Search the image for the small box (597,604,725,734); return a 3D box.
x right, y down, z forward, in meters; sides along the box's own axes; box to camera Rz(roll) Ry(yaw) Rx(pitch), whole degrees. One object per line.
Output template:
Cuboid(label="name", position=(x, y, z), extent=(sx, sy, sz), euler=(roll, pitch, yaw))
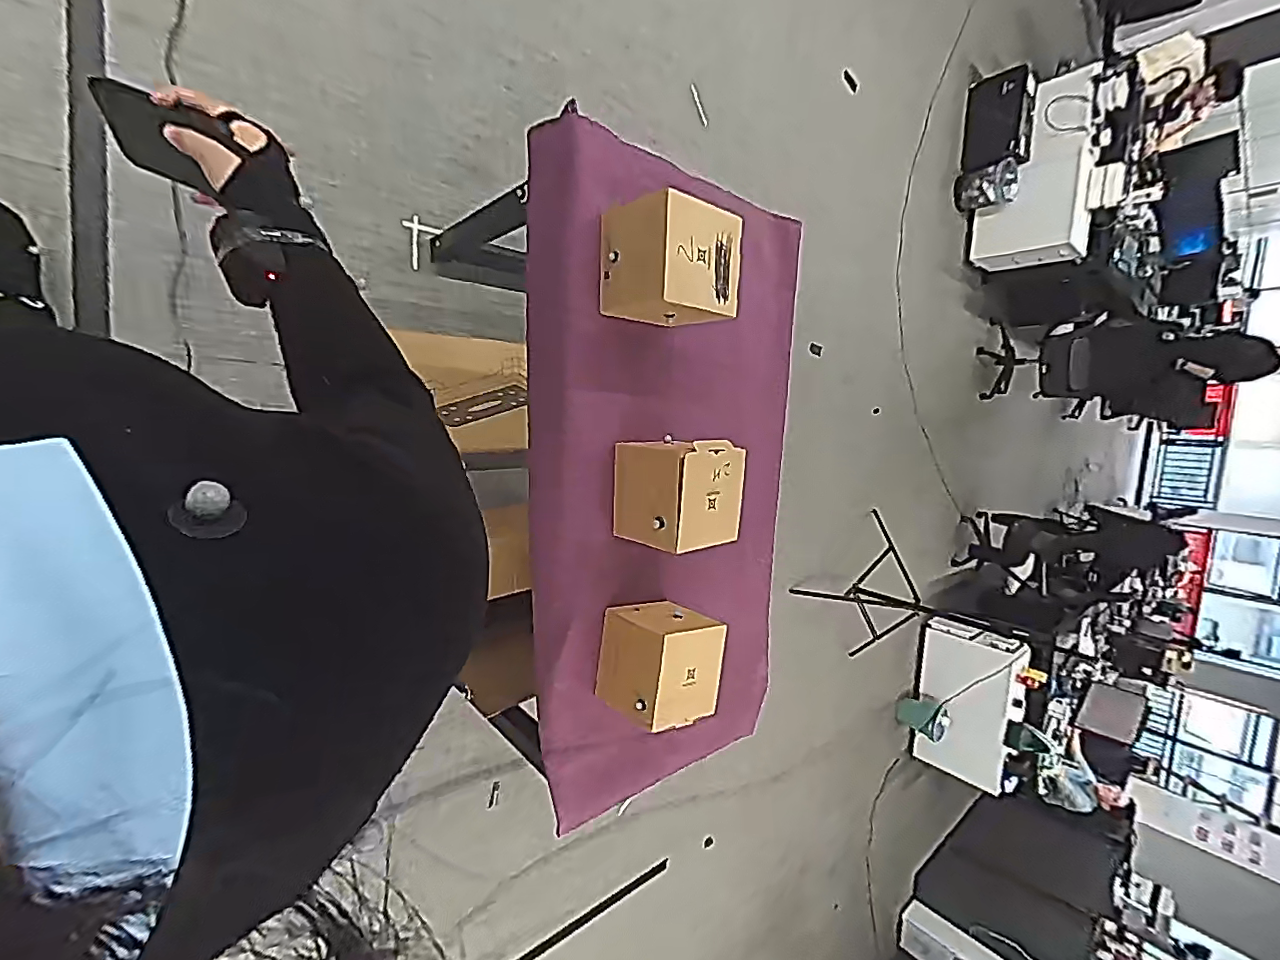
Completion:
Cuboid(label="small box", position=(0.036, 0.341, 1.021), extent=(0.168, 0.176, 0.179), euler=(5, 94, -42))

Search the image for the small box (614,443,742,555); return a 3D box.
Cuboid(label="small box", position=(0.065, 0.025, 0.995), extent=(0.168, 0.176, 0.179), euler=(-5, 100, -43))
